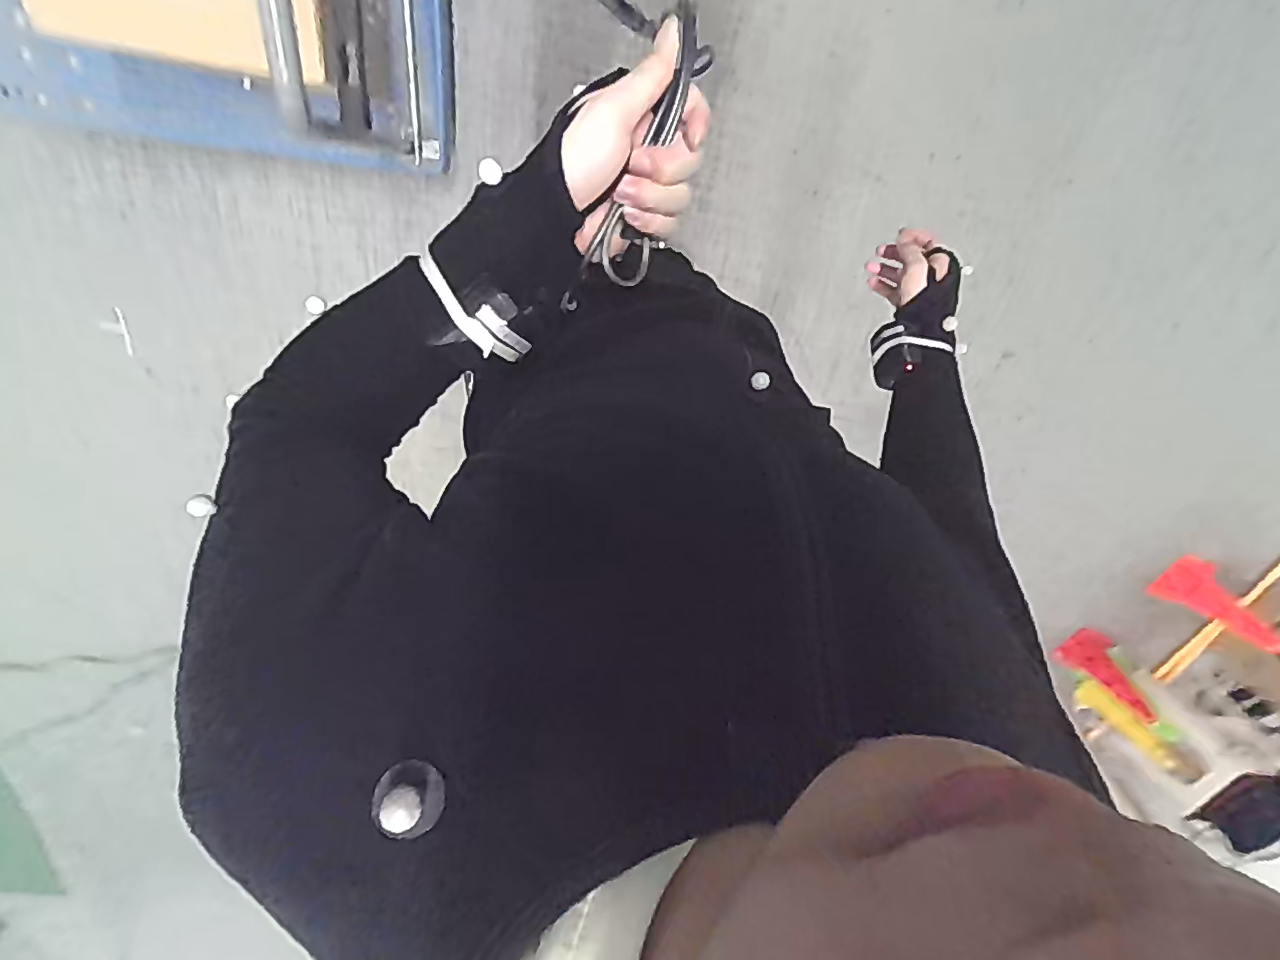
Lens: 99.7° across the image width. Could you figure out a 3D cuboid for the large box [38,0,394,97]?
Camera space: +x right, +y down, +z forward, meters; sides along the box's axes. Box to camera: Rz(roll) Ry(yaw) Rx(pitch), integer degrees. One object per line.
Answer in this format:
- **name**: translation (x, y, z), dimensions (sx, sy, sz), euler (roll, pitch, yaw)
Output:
- **large box**: translation (-0.663, -0.851, 0.874), dimensions (0.408, 0.320, 0.320), euler (6, 118, -7)
